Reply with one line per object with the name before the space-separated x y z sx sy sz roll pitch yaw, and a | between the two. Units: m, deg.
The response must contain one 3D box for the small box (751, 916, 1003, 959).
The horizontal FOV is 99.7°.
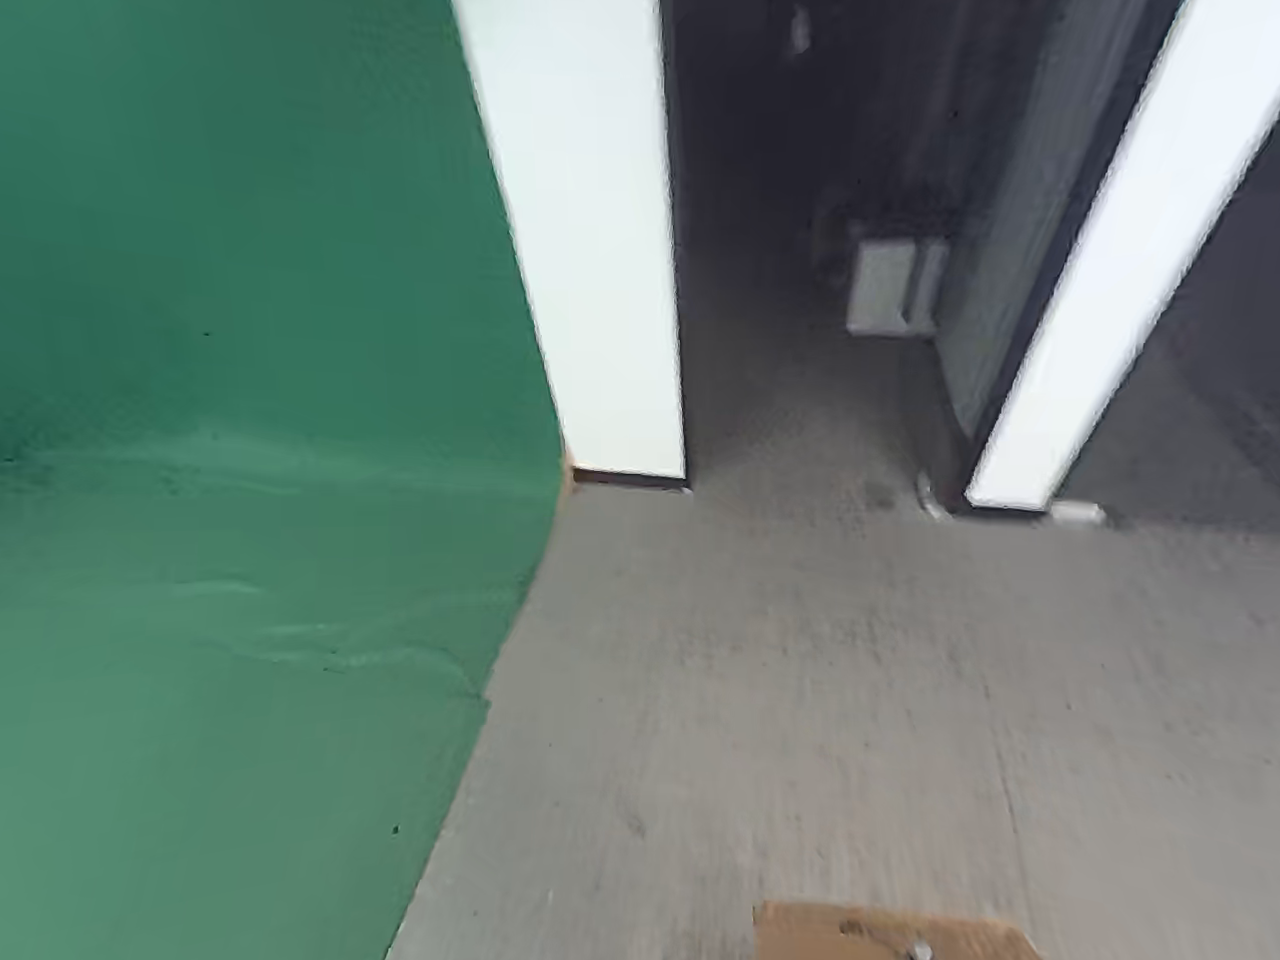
small box | 0.140 0.365 0.263 0.168 0.176 0.179 -4 77 11
